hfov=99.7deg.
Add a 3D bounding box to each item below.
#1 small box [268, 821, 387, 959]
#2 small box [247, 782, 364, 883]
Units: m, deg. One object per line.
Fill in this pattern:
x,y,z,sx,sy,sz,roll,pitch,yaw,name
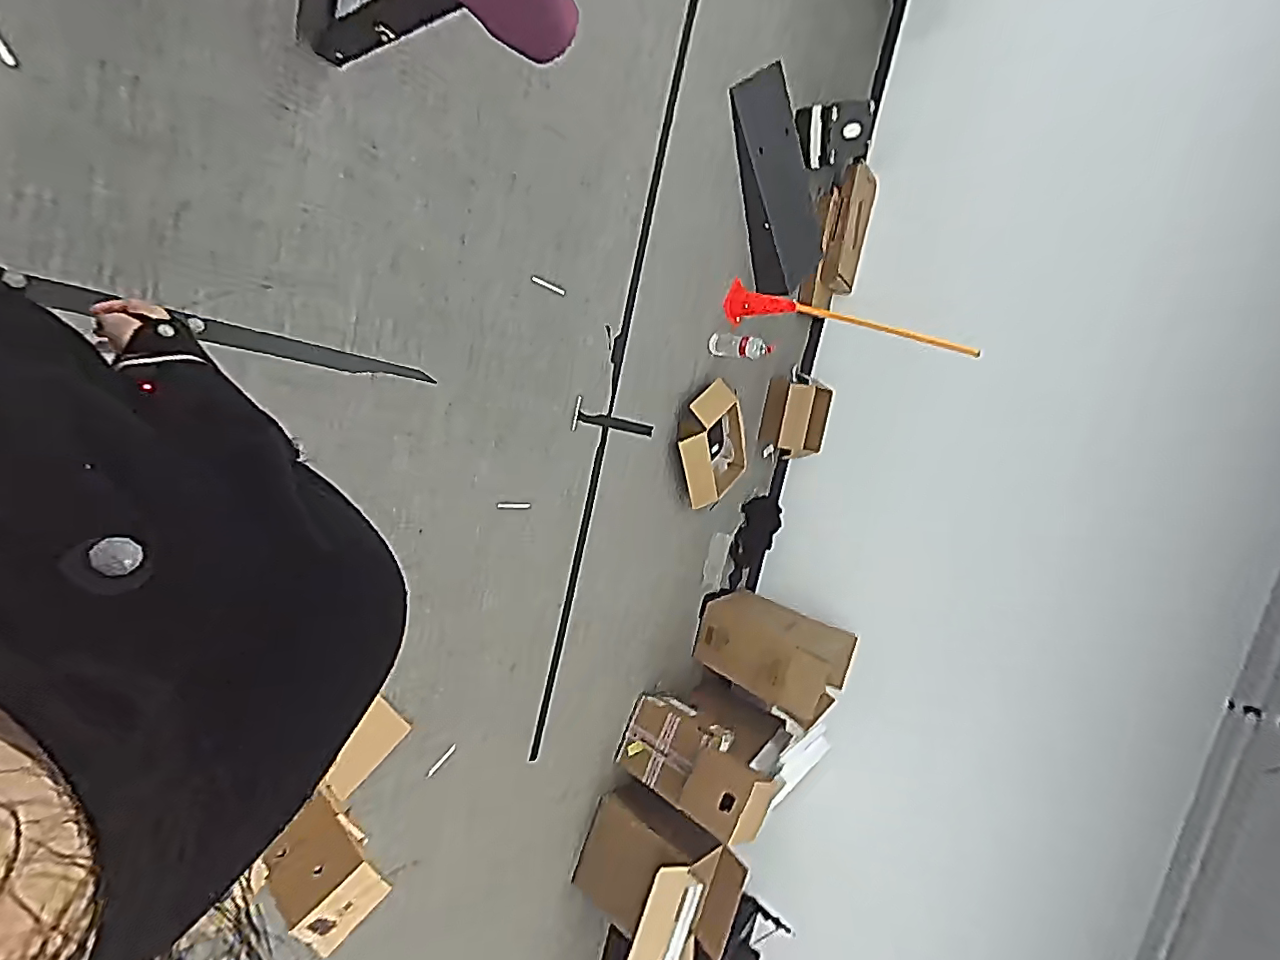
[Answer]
-0.752,0.975,1.294,0.179,0.176,0.168,-38,133,-37,small box
-0.869,0.935,1.405,0.179,0.176,0.168,-40,134,-34,small box
